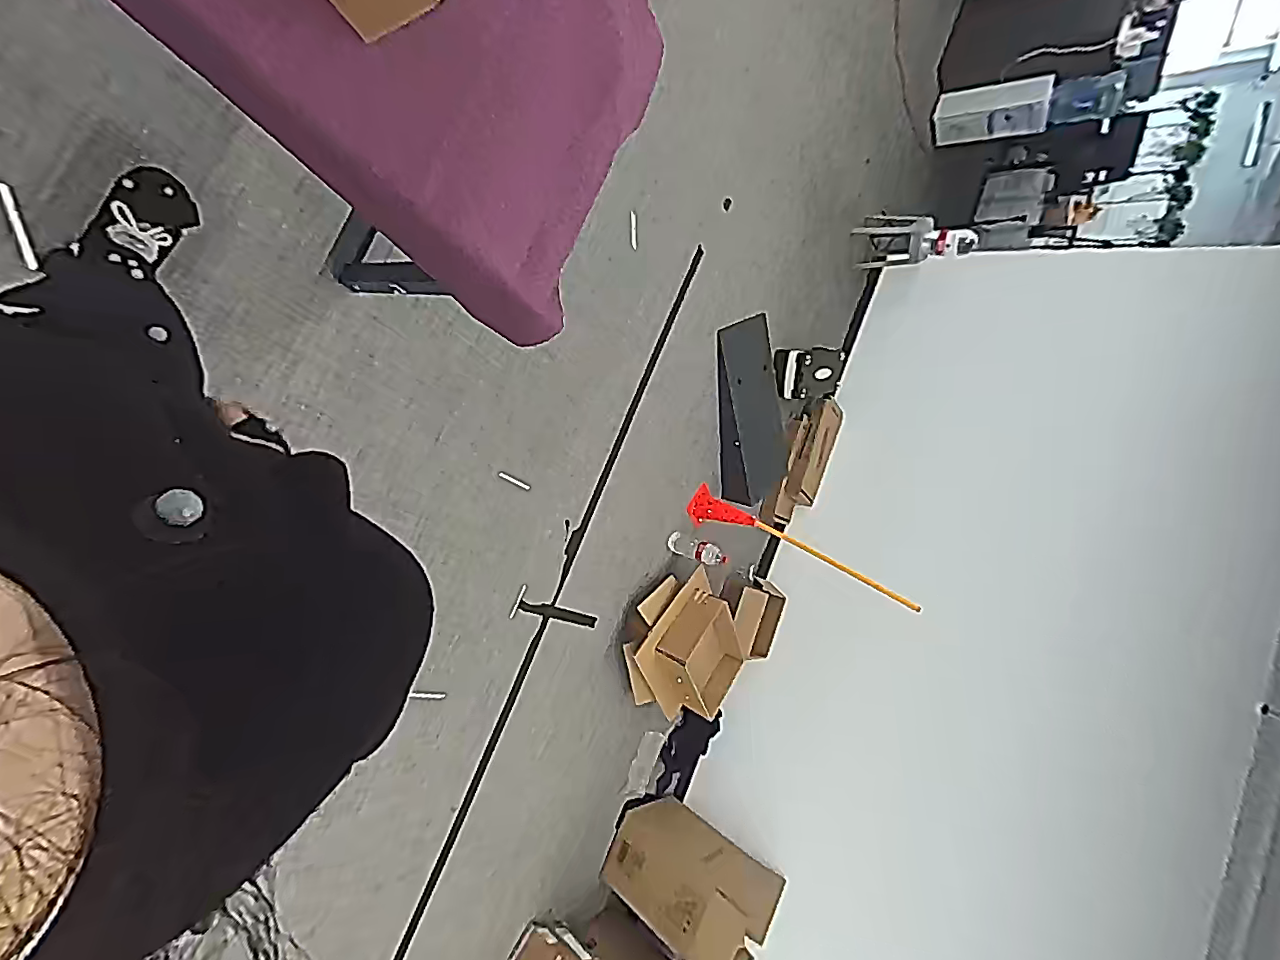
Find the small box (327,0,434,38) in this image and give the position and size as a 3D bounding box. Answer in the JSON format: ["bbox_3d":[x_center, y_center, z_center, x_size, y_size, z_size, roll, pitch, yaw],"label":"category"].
[{"bbox_3d":[-0.290,-0.631,0.581,0.168,0.176,0.179,39,71,-52],"label":"small box"}]
